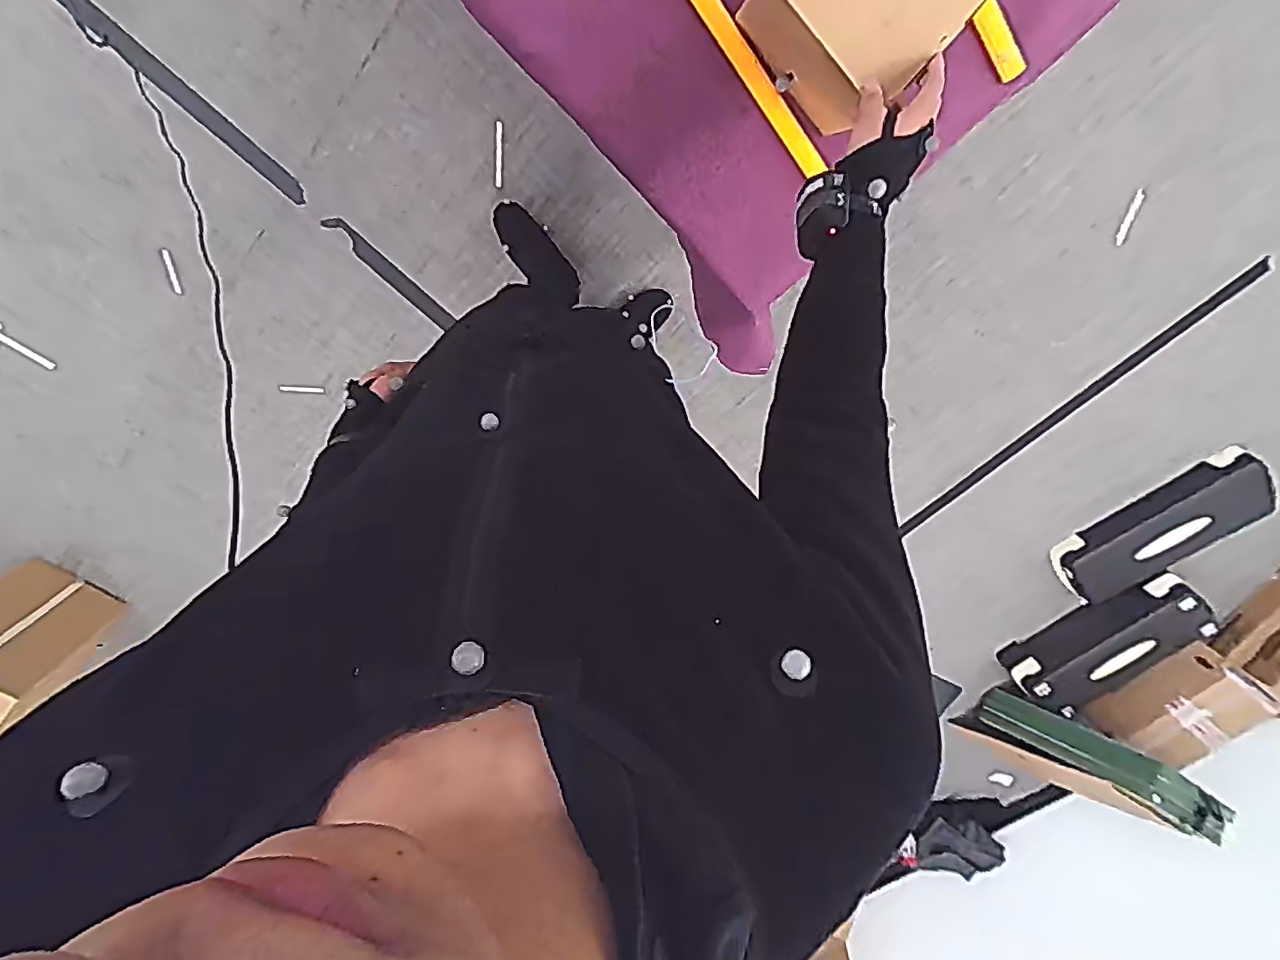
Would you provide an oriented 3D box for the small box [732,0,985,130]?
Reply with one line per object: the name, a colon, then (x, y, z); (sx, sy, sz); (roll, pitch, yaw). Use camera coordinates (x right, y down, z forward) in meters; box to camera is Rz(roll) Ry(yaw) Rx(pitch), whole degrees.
small box: (0.225, -0.512, 0.580); (0.179, 0.176, 0.168); (37, 111, -20)
